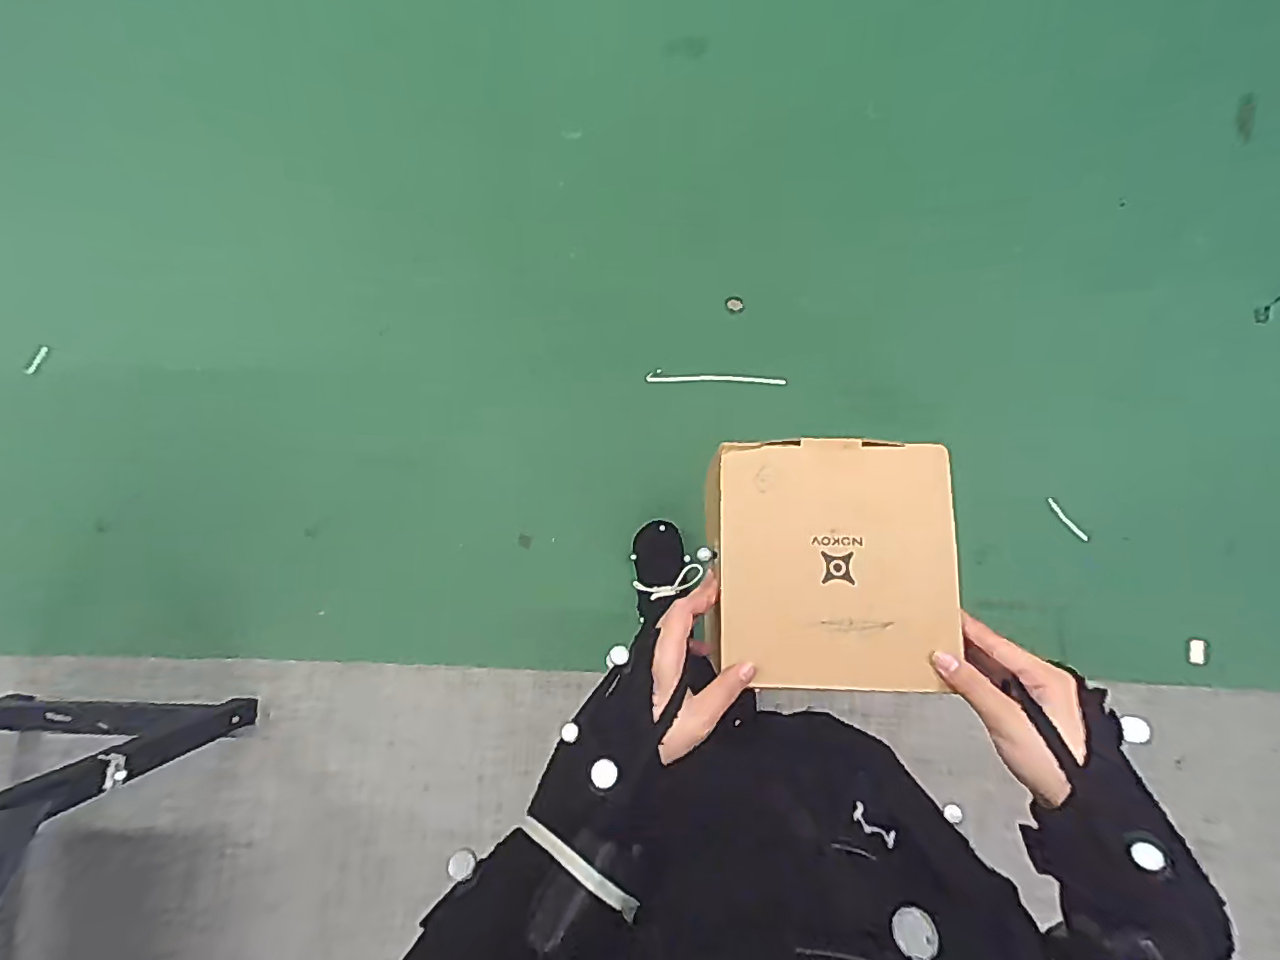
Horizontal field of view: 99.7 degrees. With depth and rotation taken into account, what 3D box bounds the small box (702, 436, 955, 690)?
[{"bbox_3d":[0.141,0.068,0.464,0.168,0.176,0.179,1,82,3],"label":"small box"}]
